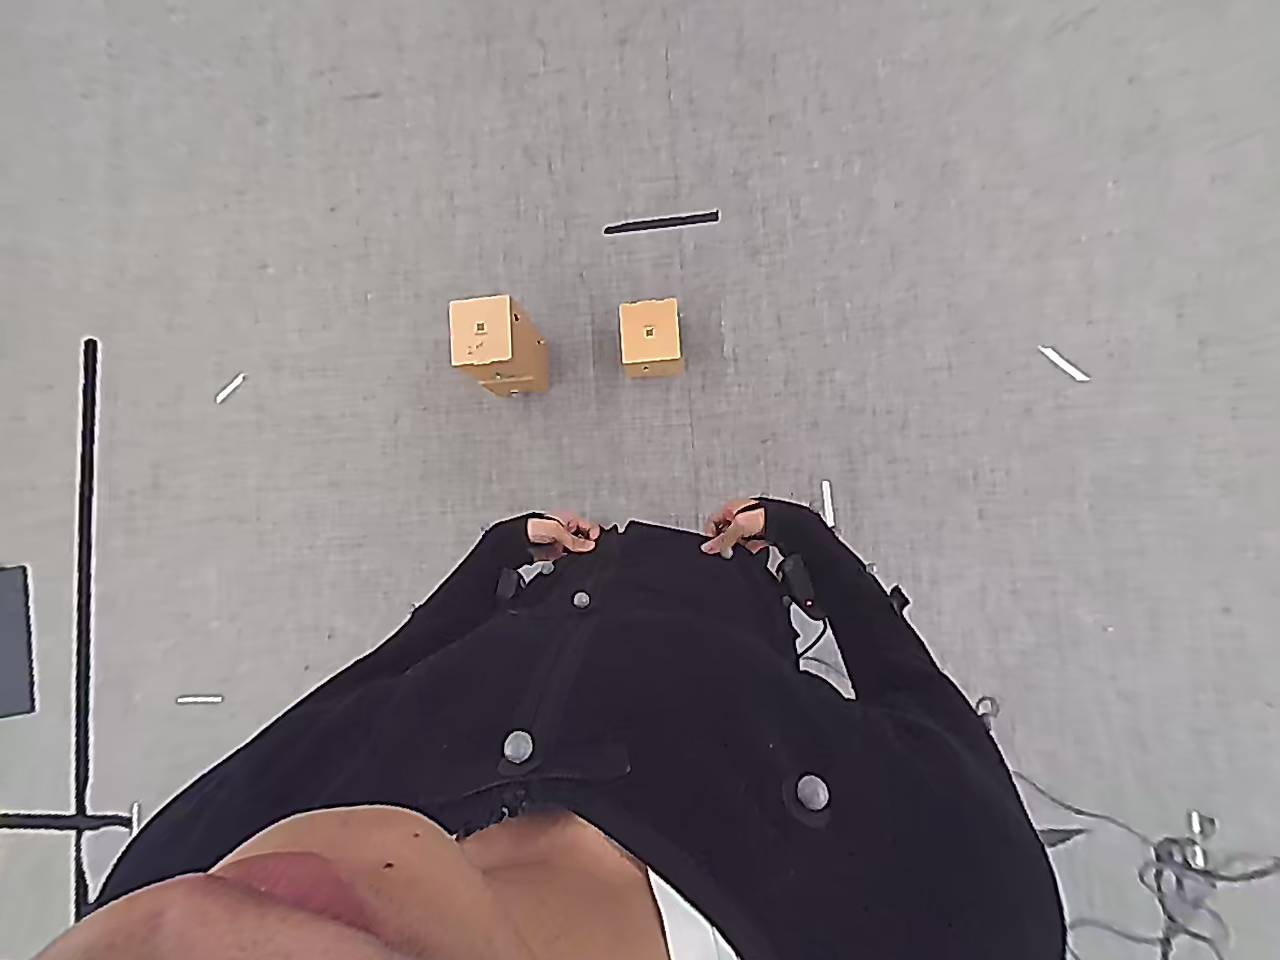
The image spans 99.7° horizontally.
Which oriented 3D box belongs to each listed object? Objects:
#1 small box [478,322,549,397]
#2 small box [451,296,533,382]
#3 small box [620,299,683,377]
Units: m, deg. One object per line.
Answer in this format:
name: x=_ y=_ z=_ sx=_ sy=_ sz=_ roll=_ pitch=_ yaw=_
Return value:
small box: x=-0.378 y=-0.357 z=1.624 sx=0.168 sy=0.176 sz=0.179 roll=-4 pitch=86 yaw=7
small box: x=-0.396 y=-0.376 z=1.462 sx=0.168 sy=0.176 sz=0.179 roll=-4 pitch=87 yaw=7
small box: x=0.037 y=-0.409 z=1.587 sx=0.168 sy=0.176 sz=0.179 roll=-5 pitch=85 yaw=5
